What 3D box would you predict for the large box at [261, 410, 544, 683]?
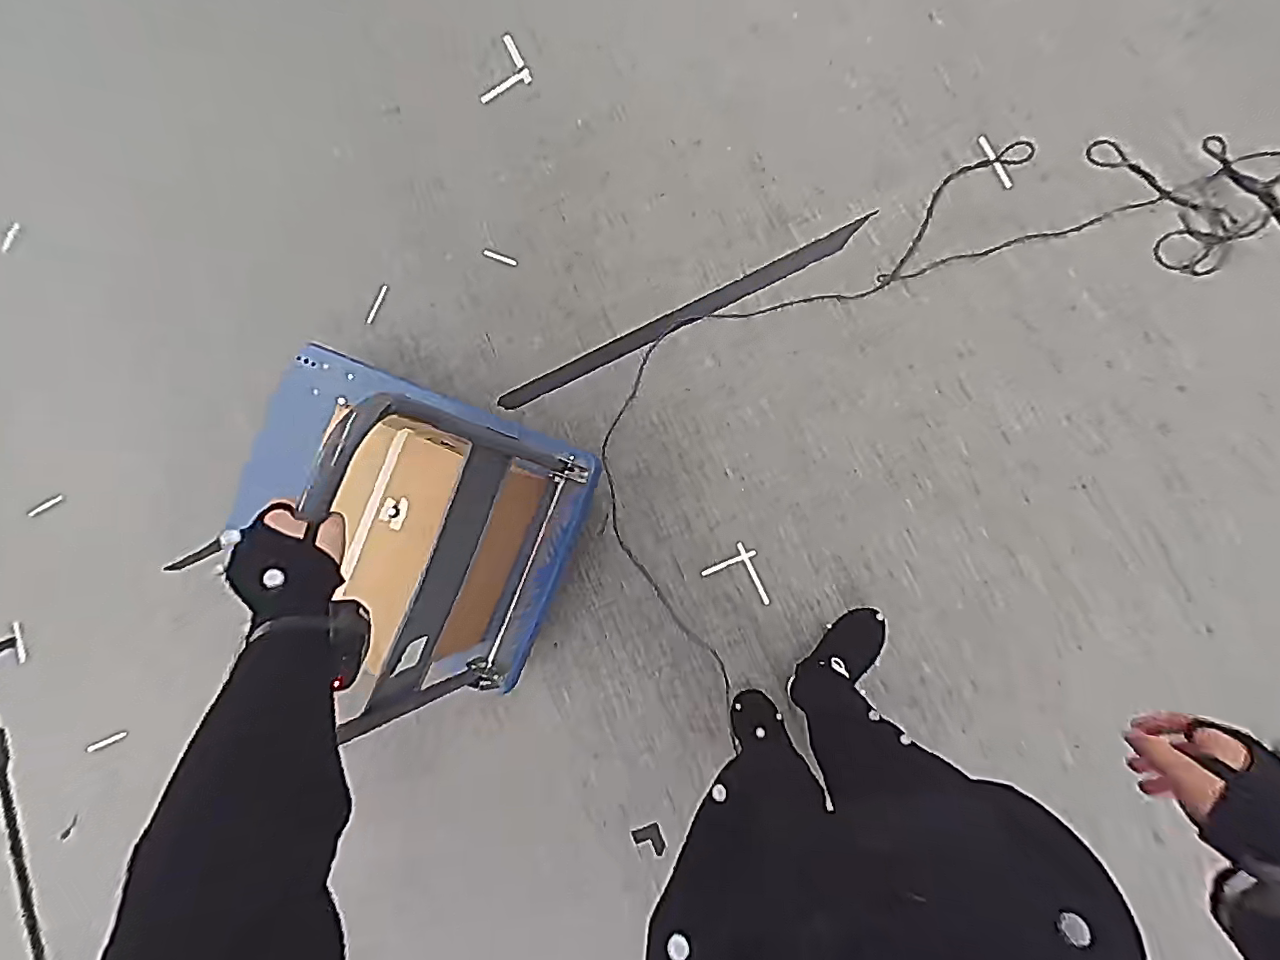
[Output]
[{"bbox_3d":[-0.447,0.125,1.088,0.320,0.320,0.408,22,88,13],"label":"large box"}]
